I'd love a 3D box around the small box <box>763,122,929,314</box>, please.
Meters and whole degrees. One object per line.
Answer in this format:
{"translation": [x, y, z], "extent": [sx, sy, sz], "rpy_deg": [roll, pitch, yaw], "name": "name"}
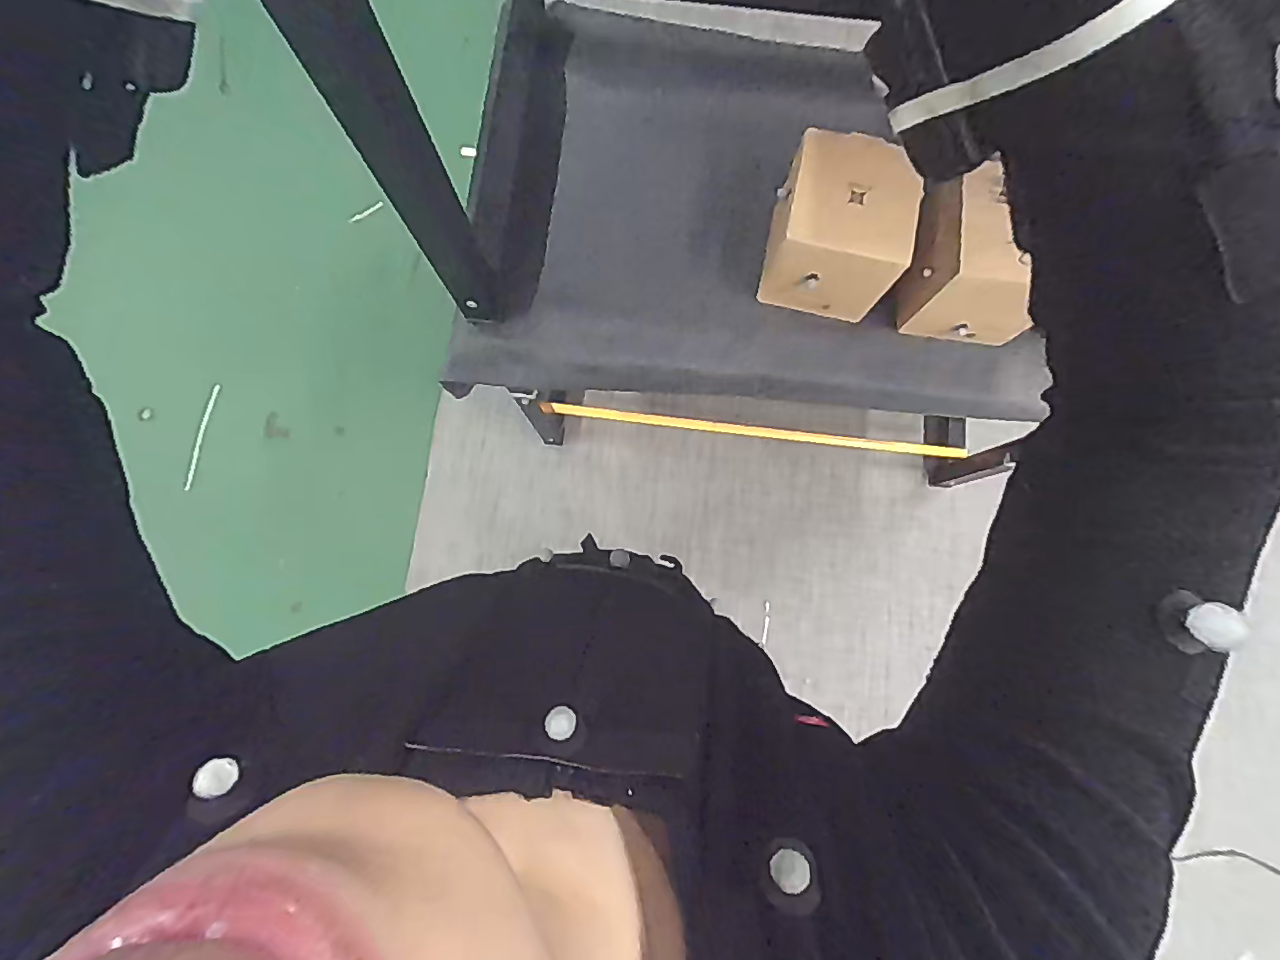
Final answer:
{"translation": [0.286, -0.367, 0.787], "extent": [0.168, 0.176, 0.179], "rpy_deg": [13, 80, 1], "name": "small box"}
